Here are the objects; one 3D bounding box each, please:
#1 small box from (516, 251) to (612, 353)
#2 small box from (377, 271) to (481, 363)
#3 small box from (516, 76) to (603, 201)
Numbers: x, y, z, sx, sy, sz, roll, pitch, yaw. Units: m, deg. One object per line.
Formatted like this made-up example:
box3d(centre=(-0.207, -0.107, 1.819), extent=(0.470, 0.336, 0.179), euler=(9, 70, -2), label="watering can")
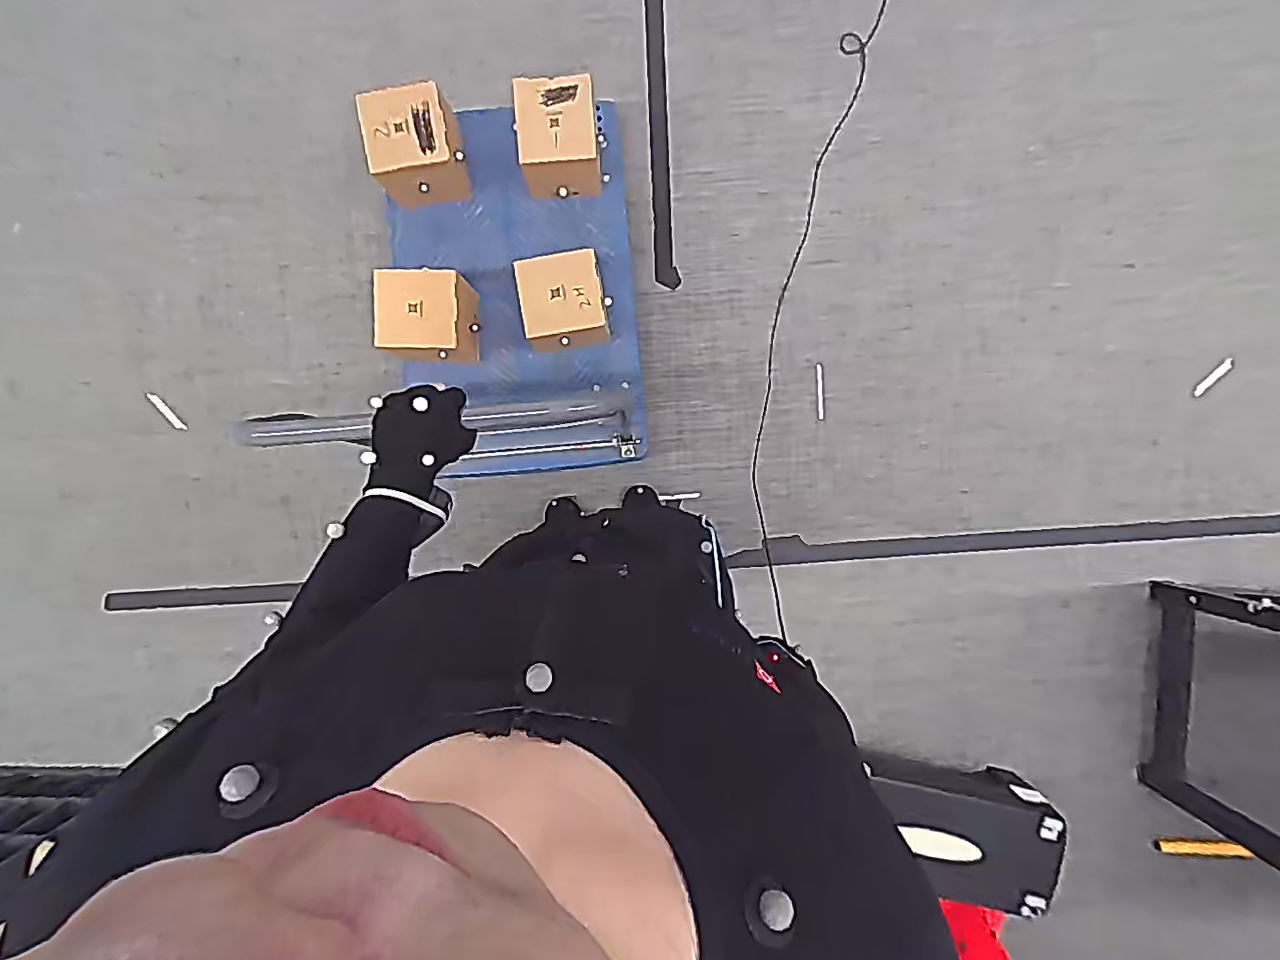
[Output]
box3d(centre=(-0.165, -0.394, 1.223), extent=(0.179, 0.176, 0.168), euler=(-9, 92, 1), label="small box")
box3d(centre=(-0.472, -0.362, 1.227), extent=(0.179, 0.176, 0.168), euler=(0, 91, -2), label="small box")
box3d(centre=(-0.173, -0.755, 1.209), extent=(0.168, 0.176, 0.179), euler=(-4, 93, 1), label="small box")
